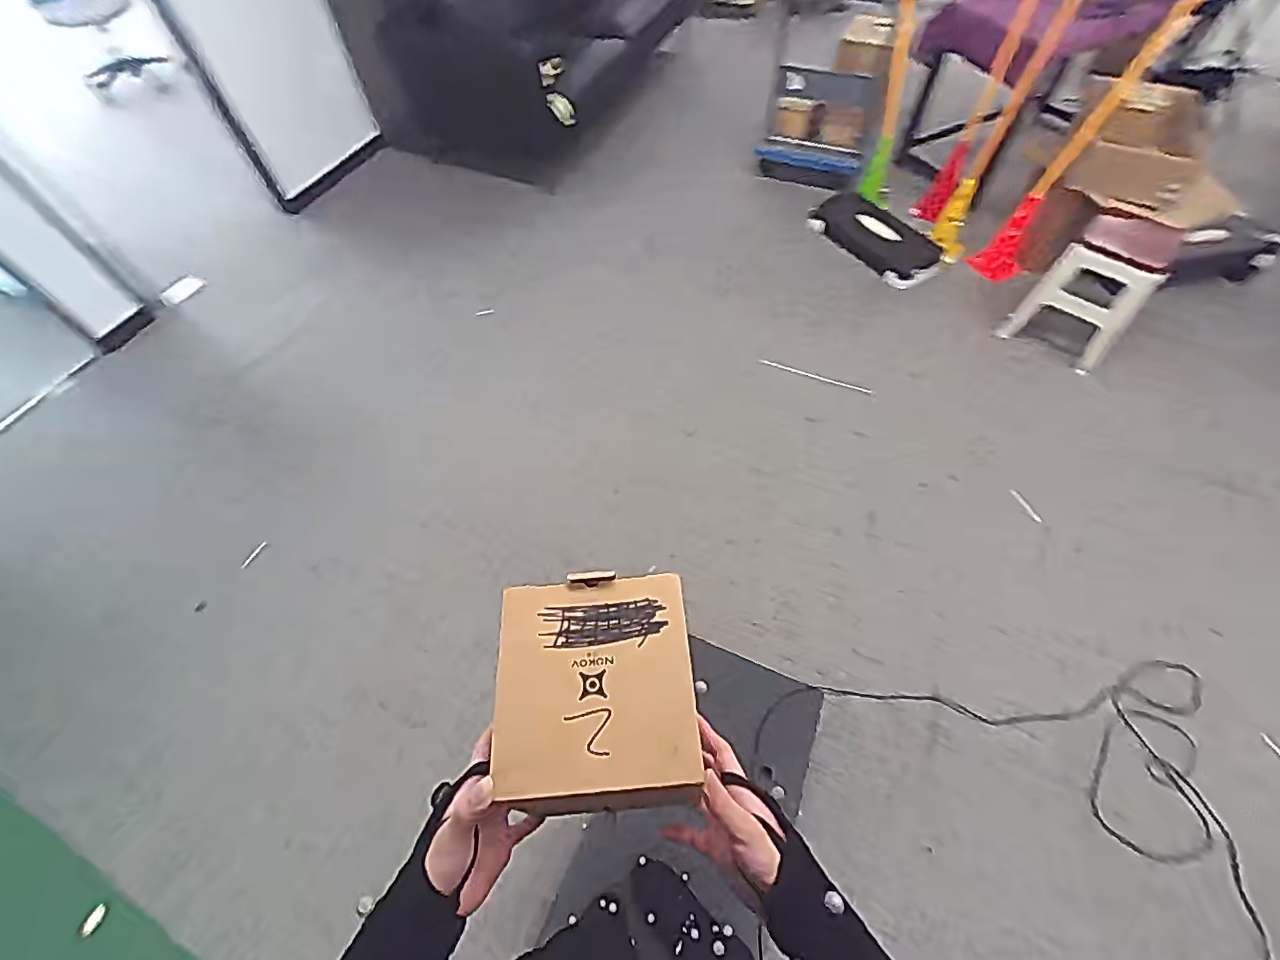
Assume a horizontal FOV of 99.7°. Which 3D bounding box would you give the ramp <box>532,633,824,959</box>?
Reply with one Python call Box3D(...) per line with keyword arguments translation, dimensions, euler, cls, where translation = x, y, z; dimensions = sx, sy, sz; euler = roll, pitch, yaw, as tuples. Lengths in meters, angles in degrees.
Box3D(translation=(0.132, 0.898, 1.377), dimensions=(0.509, 0.206, 0.991), euler=(18, 60, 15), cls="ramp")
